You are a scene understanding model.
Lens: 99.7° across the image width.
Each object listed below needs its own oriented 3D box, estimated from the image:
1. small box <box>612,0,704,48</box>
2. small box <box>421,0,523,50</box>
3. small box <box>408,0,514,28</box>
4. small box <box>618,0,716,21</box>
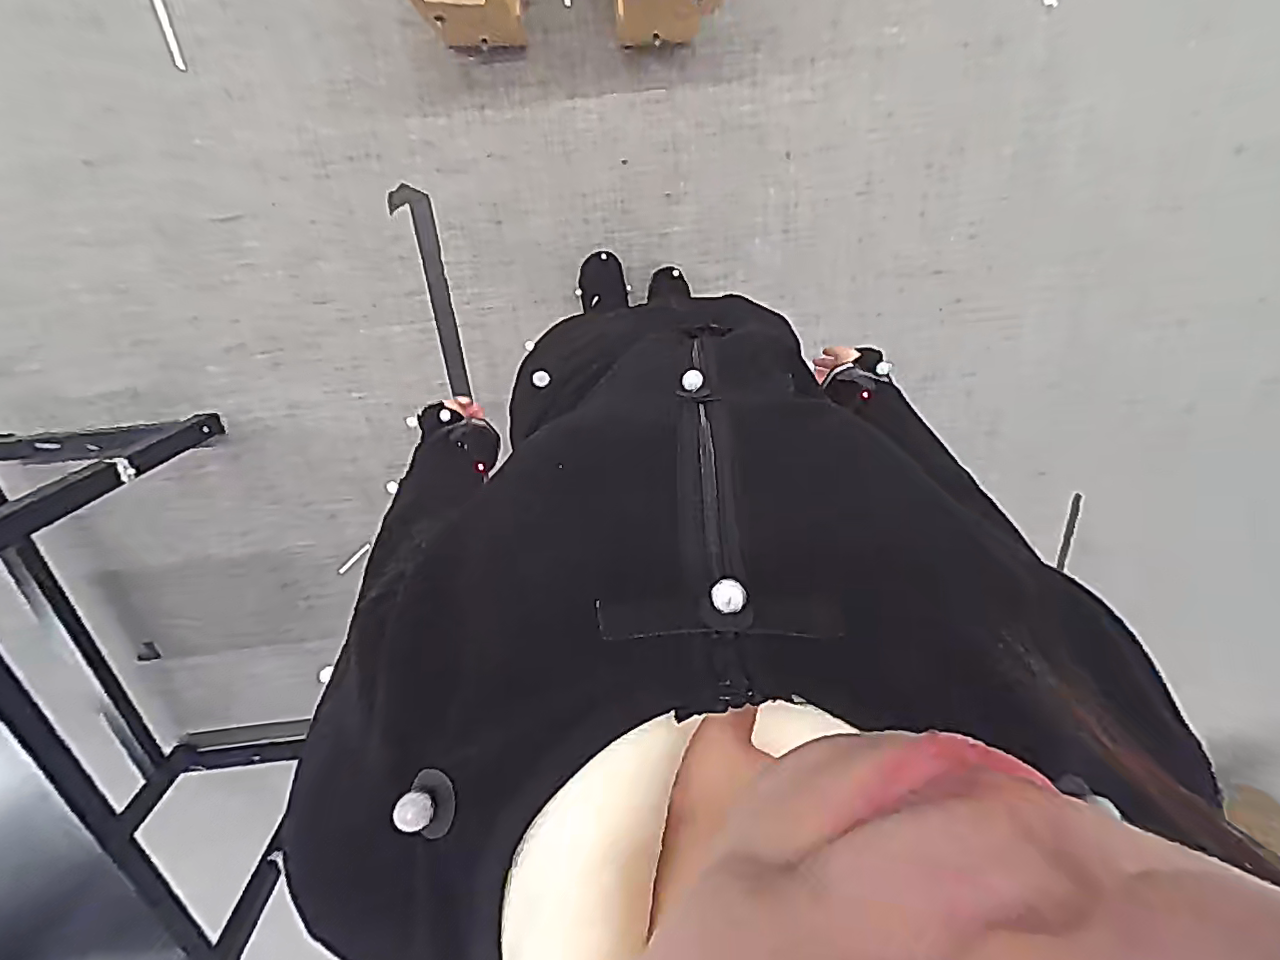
[{"bbox_3d":[0.028,-0.965,1.038,0.168,0.176,0.179,-4,115,-3],"label":"small box"},{"bbox_3d":[-0.318,-0.938,1.019,0.179,0.176,0.168,-5,115,-4],"label":"small box"},{"bbox_3d":[-0.299,-0.865,0.872,0.168,0.176,0.179,-1,114,-5],"label":"small box"},{"bbox_3d":[0.050,-0.894,0.893,0.179,0.176,0.168,-6,114,-2],"label":"small box"}]
